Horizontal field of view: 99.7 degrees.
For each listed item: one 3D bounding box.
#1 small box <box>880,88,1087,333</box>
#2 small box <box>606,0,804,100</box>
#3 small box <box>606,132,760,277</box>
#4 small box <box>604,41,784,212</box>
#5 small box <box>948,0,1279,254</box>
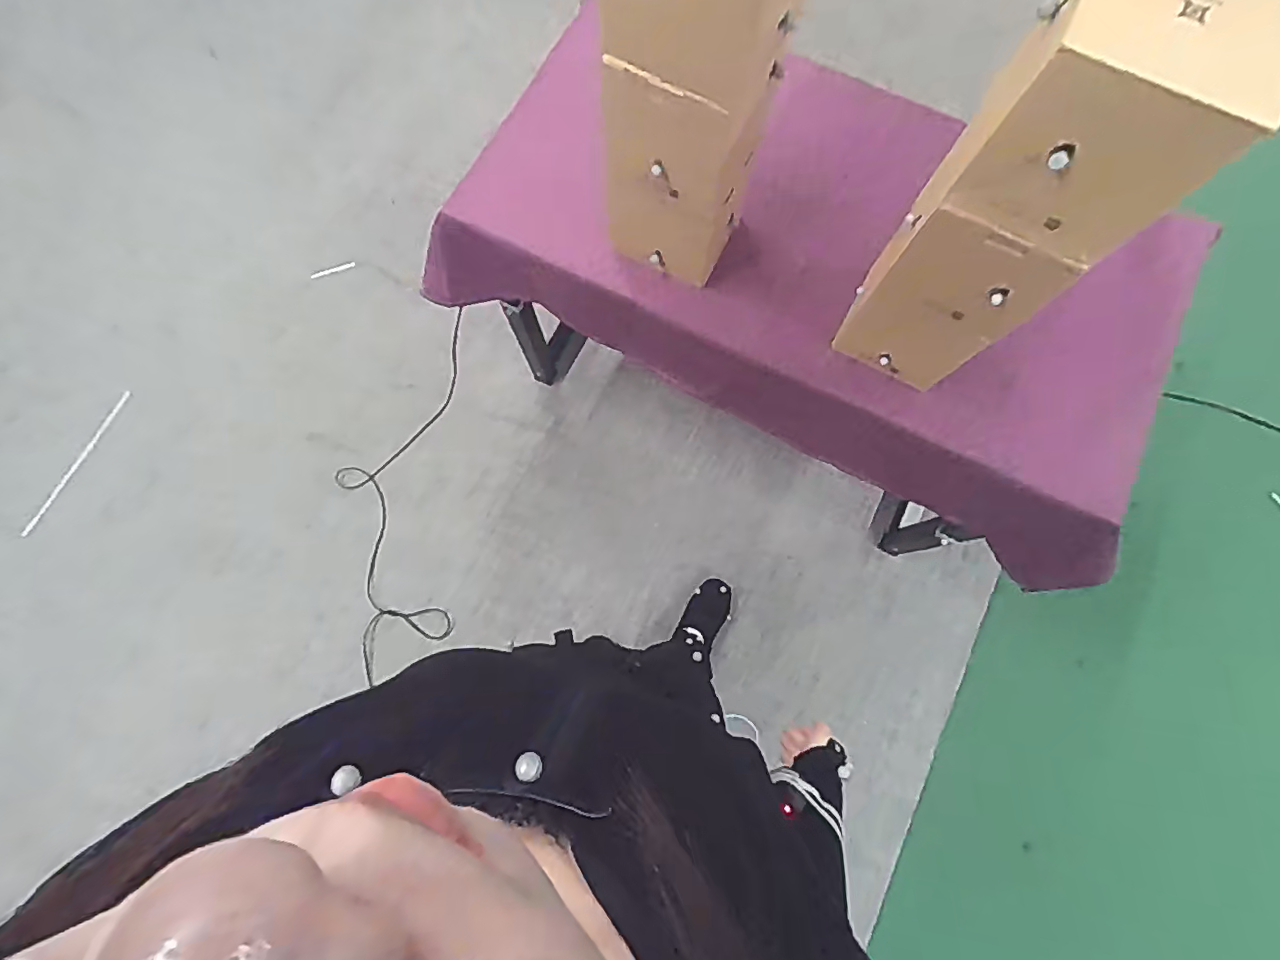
[{"bbox_3d":[0.423,-0.312,0.658,0.168,0.176,0.179,27,78,5],"label":"small box"},{"bbox_3d":[0.074,-0.527,0.531,0.179,0.176,0.168,28,78,5],"label":"small box"},{"bbox_3d":[0.061,-0.452,0.852,0.179,0.176,0.168,25,78,4],"label":"small box"},{"bbox_3d":[0.066,-0.493,0.692,0.168,0.176,0.179,27,79,6],"label":"small box"},{"bbox_3d":[0.424,-0.349,0.499,0.168,0.176,0.179,27,78,5],"label":"small box"}]
